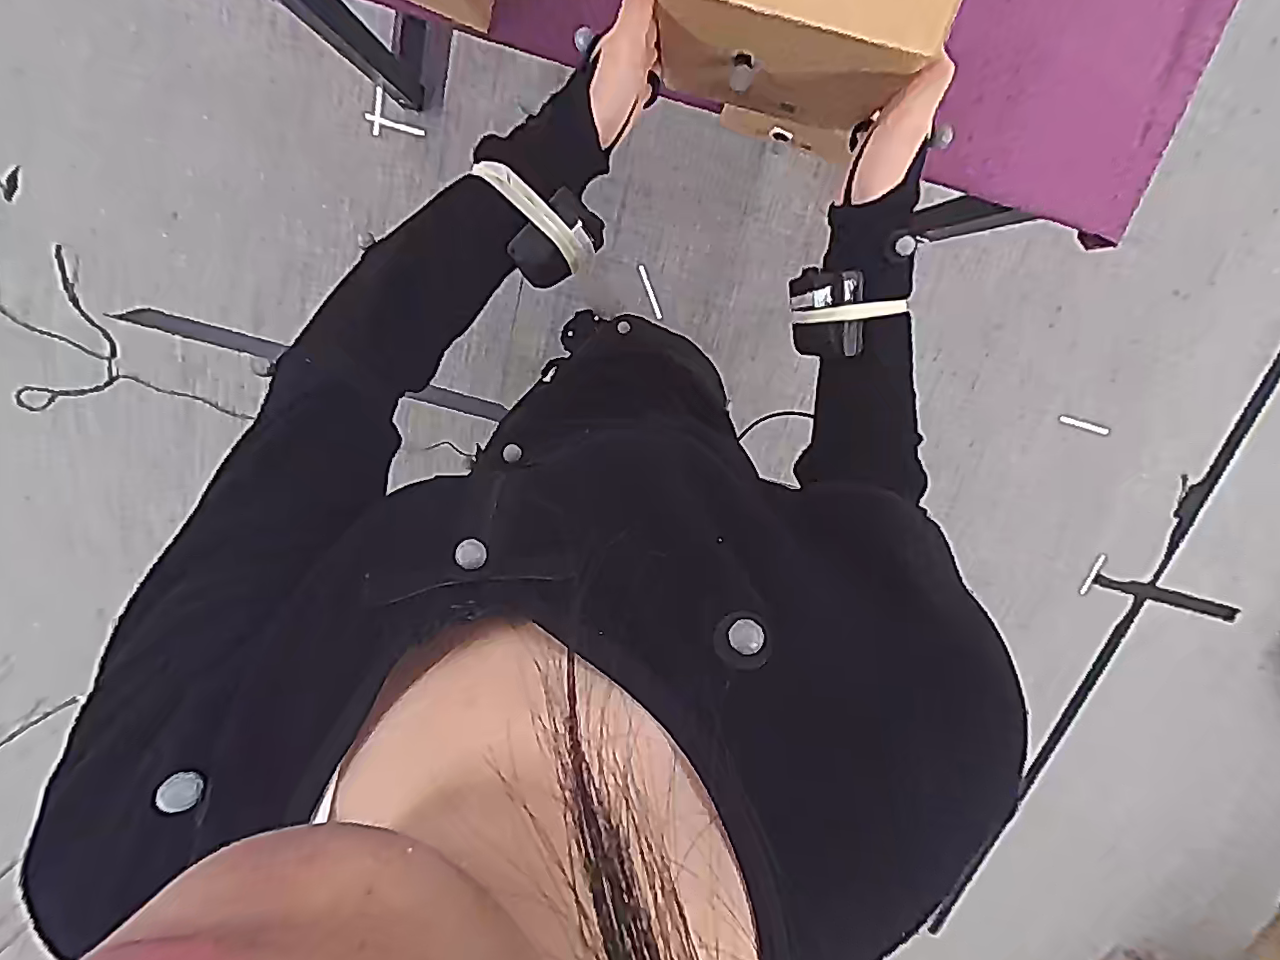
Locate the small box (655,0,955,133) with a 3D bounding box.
[{"bbox_3d":[0.115,-0.356,0.348,0.168,0.176,0.179,15,108,0],"label":"small box"}]

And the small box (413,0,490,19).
[{"bbox_3d":[-0.217,-0.569,0.488,0.179,0.176,0.168,18,107,-7],"label":"small box"}]

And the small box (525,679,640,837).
[{"bbox_3d":[-0.099,0.502,0.991,0.168,0.176,0.179,15,108,-6],"label":"small box"}]

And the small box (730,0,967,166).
[{"bbox_3d":[0.199,-0.447,0.539,0.168,0.176,0.179,15,108,-5],"label":"small box"}]
